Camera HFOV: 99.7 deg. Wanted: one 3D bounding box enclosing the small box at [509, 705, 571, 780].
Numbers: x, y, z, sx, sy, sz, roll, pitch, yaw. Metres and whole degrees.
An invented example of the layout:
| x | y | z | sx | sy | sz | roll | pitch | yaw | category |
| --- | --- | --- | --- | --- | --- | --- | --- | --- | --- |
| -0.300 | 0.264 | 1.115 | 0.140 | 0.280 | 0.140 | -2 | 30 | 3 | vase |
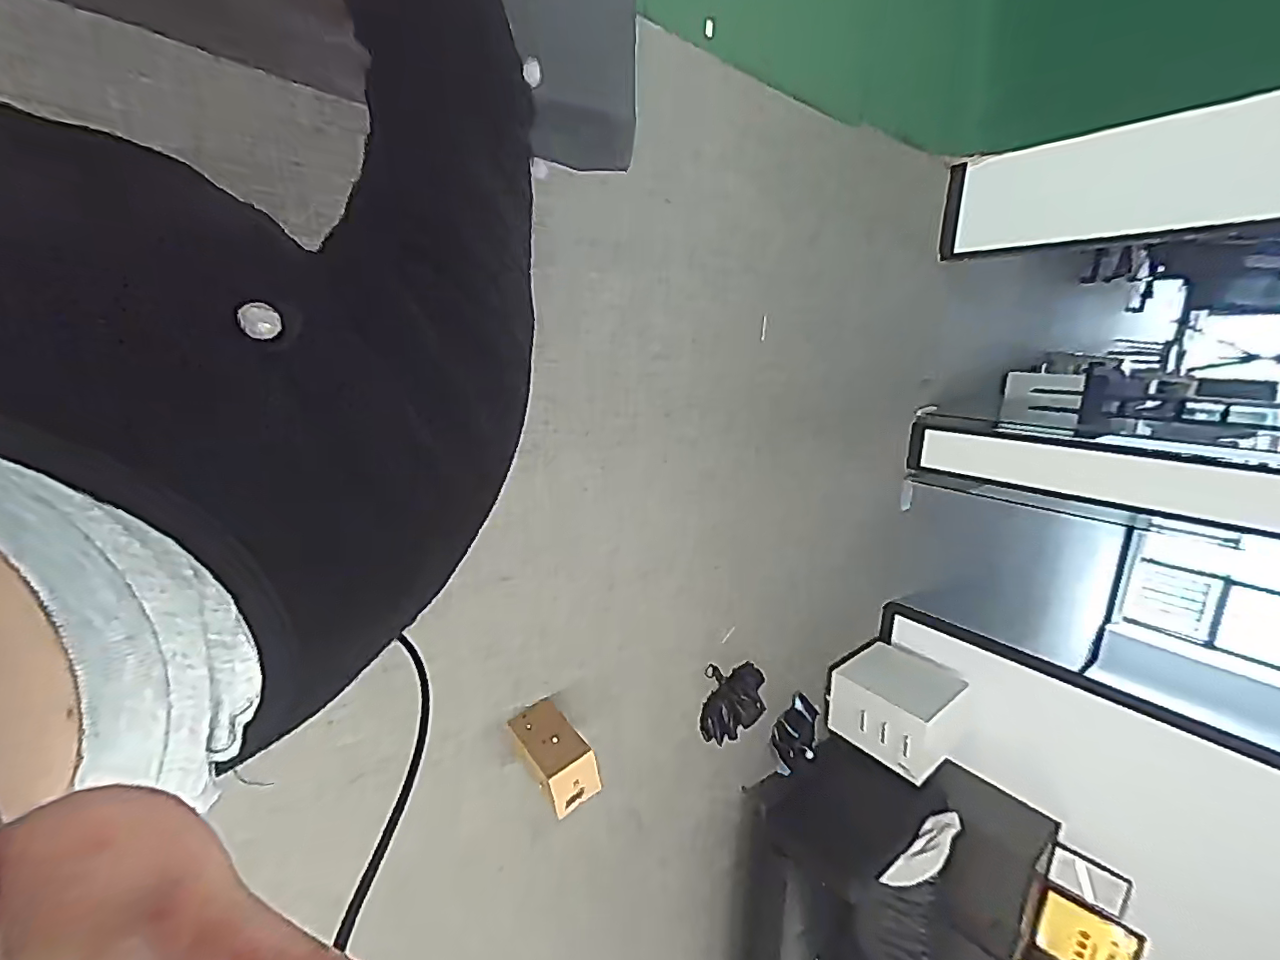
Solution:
| x | y | z | sx | sy | sz | roll | pitch | yaw | category |
| --- | --- | --- | --- | --- | --- | --- | --- | --- | --- |
| -0.345 | 0.930 | 1.910 | 0.168 | 0.176 | 0.179 | -23 | 117 | -31 | small box |

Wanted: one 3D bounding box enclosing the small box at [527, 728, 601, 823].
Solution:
| x | y | z | sx | sy | sz | roll | pitch | yaw | category |
| --- | --- | --- | --- | --- | --- | --- | --- | --- | --- |
| -0.252 | 0.964 | 1.778 | 0.168 | 0.176 | 0.179 | -22 | 113 | -31 | small box |
